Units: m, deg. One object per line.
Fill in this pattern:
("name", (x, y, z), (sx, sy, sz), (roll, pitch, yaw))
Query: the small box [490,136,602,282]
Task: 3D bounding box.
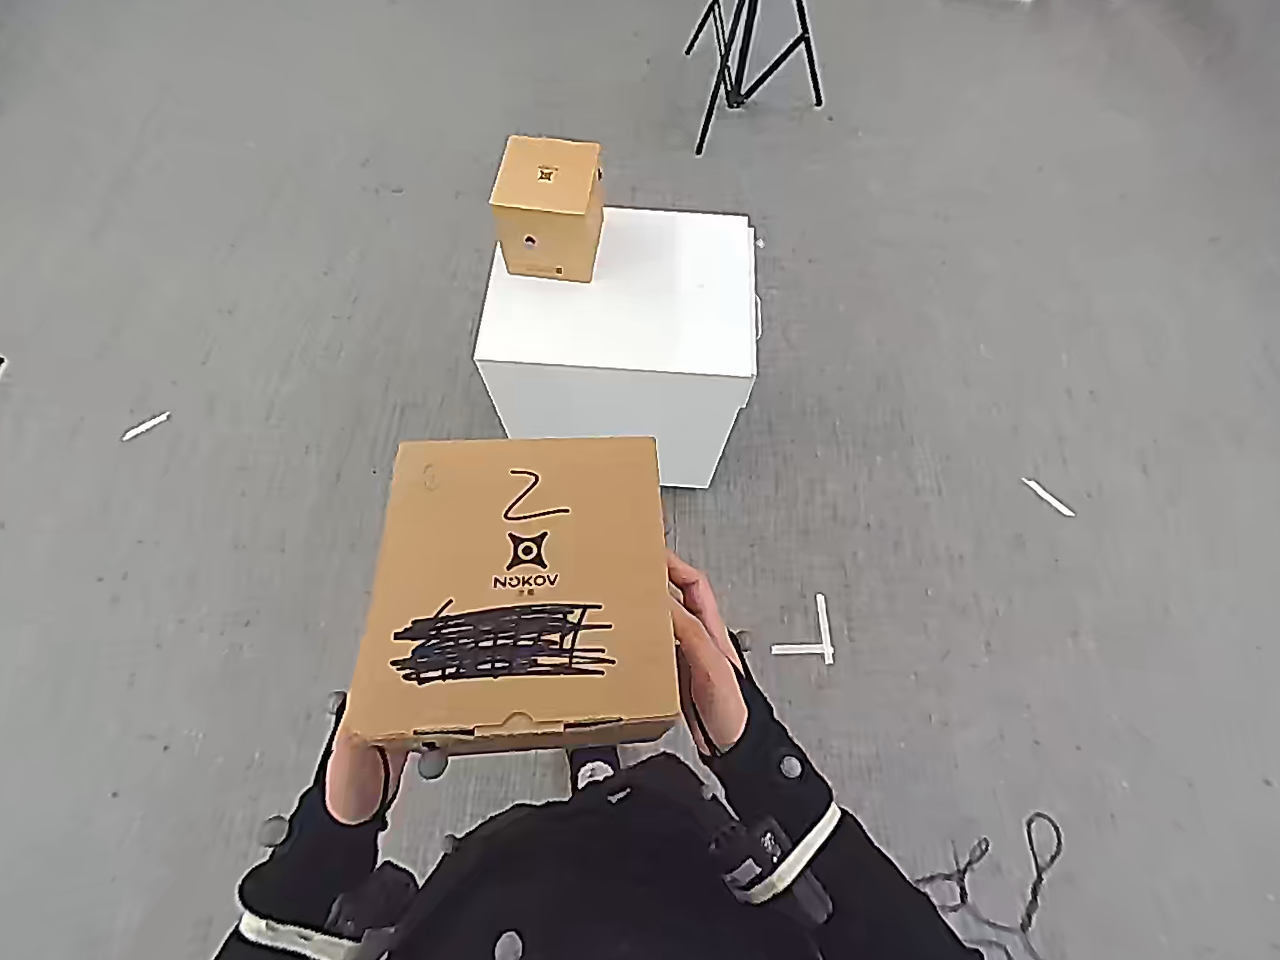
("small box", (-0.164, -0.496, 1.006), (0.168, 0.176, 0.179), (7, 68, 1))
